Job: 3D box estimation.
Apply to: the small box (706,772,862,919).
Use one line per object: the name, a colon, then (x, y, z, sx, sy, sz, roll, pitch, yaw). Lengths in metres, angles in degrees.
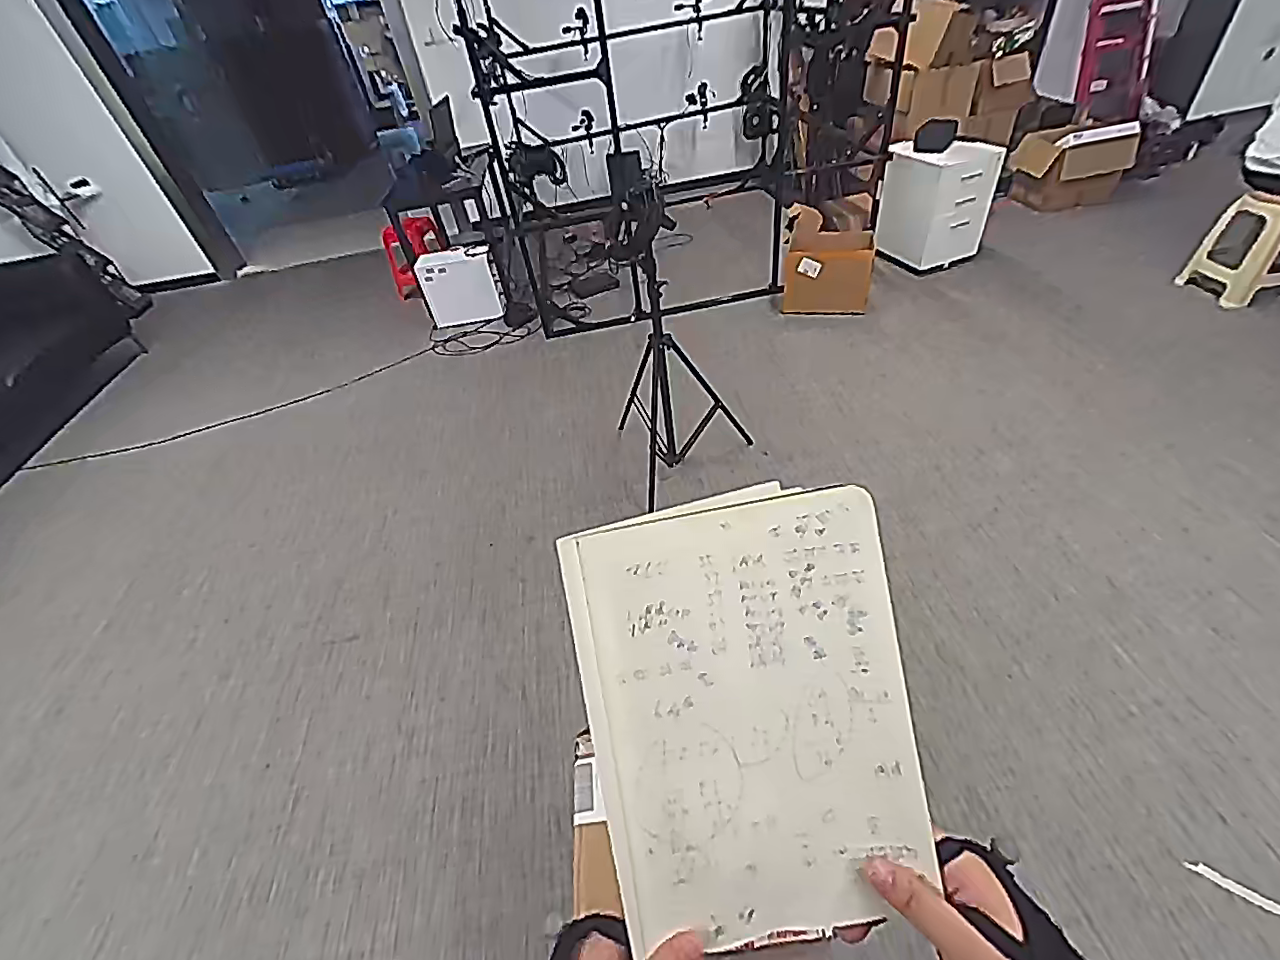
small box: (0.203, 0.535, 0.819, 0.179, 0.176, 0.168, -12, 43, -4)

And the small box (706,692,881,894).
small box: (0.184, 0.411, 0.713, 0.168, 0.176, 0.179, -9, 43, -3)
